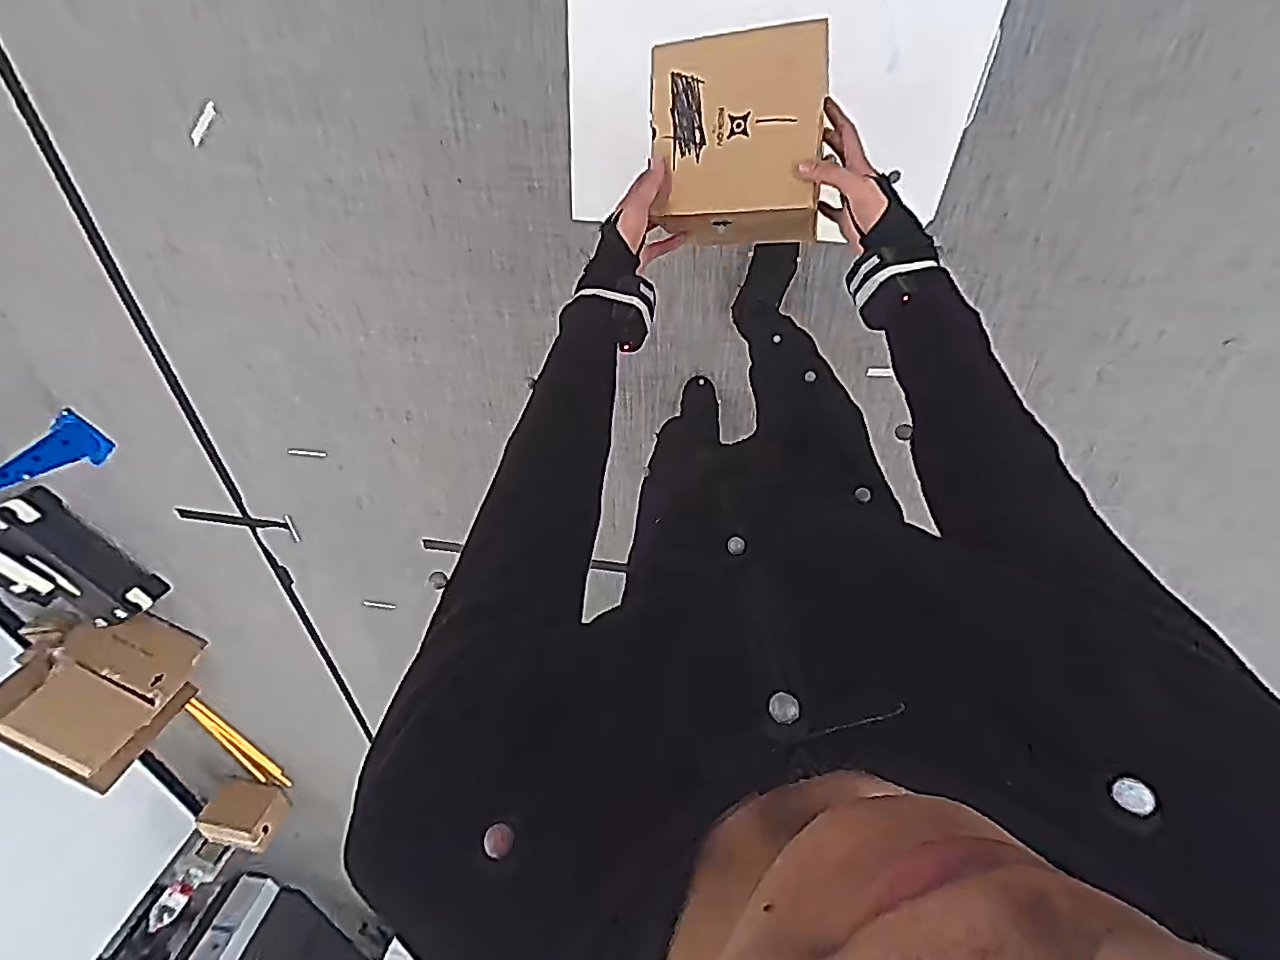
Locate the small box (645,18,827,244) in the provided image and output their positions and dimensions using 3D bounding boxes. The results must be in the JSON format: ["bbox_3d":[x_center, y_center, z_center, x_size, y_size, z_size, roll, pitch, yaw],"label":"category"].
[{"bbox_3d":[0.116,-0.378,0.625,0.179,0.176,0.168,5,103,18],"label":"small box"}]
